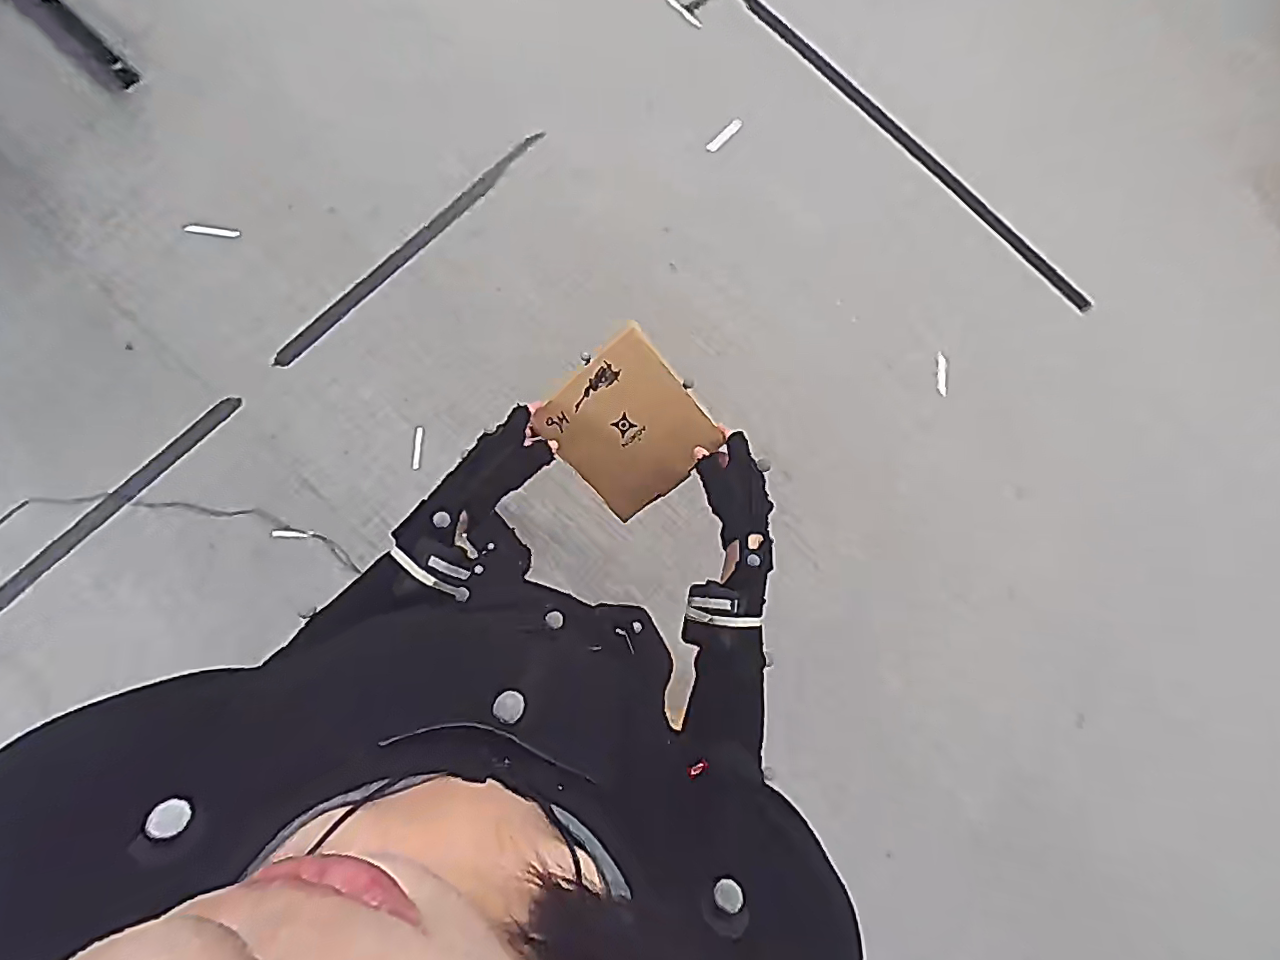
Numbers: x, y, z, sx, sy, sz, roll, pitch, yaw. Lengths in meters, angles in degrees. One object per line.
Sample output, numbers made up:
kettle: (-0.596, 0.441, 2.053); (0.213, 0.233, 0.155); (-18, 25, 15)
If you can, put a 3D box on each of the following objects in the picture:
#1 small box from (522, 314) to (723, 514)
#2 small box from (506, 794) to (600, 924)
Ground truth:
small box: (-0.020, -0.094, 0.694); (0.168, 0.176, 0.179); (-40, 106, 12)
small box: (-0.207, 0.924, 1.337); (0.168, 0.176, 0.179); (25, 81, -1)
